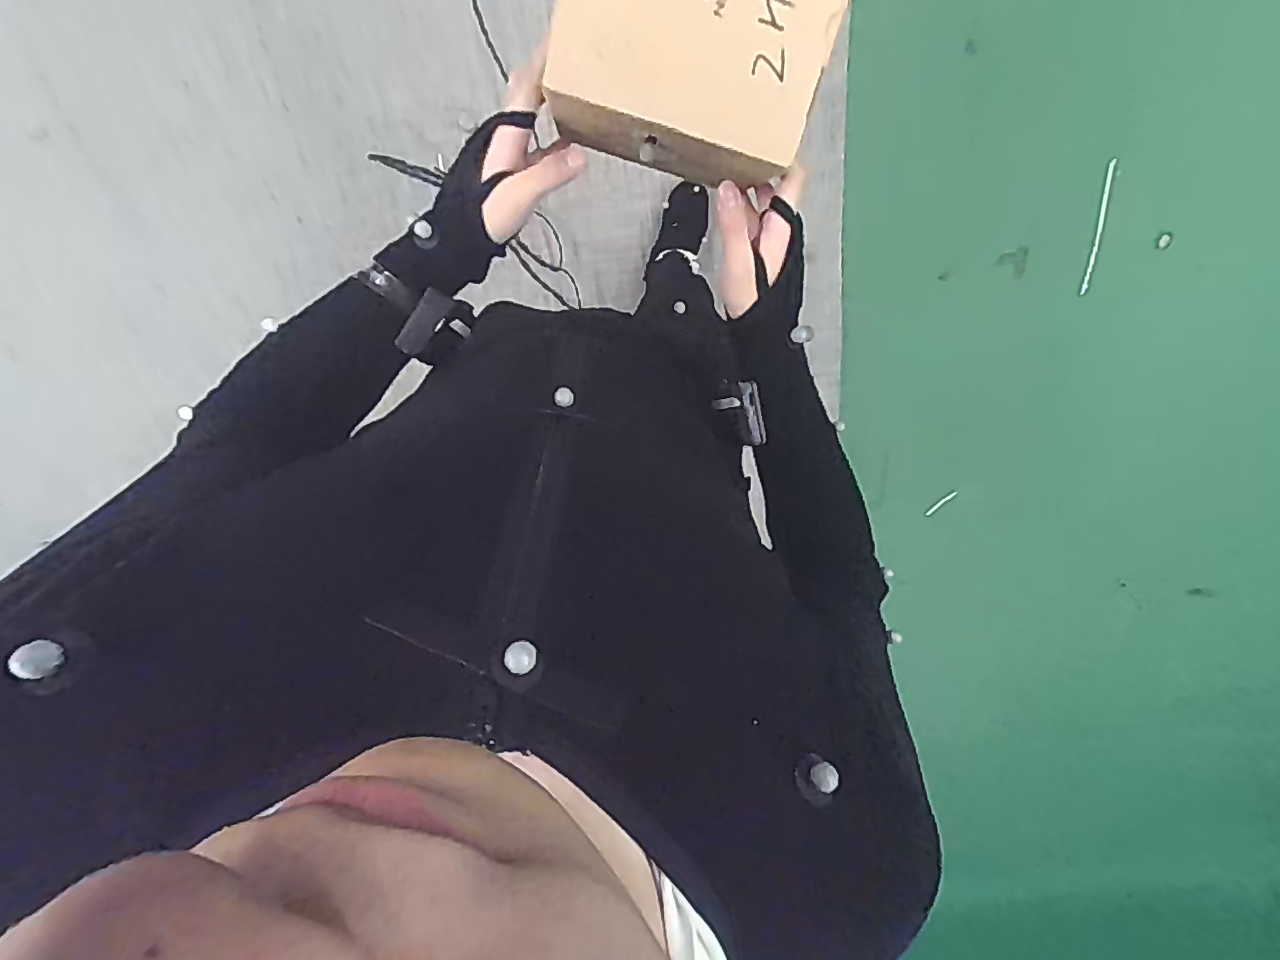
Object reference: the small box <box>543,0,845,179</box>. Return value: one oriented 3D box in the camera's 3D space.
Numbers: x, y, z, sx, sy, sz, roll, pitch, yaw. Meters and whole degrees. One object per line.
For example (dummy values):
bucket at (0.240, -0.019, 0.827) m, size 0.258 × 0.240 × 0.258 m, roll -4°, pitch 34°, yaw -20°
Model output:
small box at (0.038, -0.341, 0.398) m, size 0.179 × 0.176 × 0.168 m, roll 13°, pitch 112°, yaw -9°
